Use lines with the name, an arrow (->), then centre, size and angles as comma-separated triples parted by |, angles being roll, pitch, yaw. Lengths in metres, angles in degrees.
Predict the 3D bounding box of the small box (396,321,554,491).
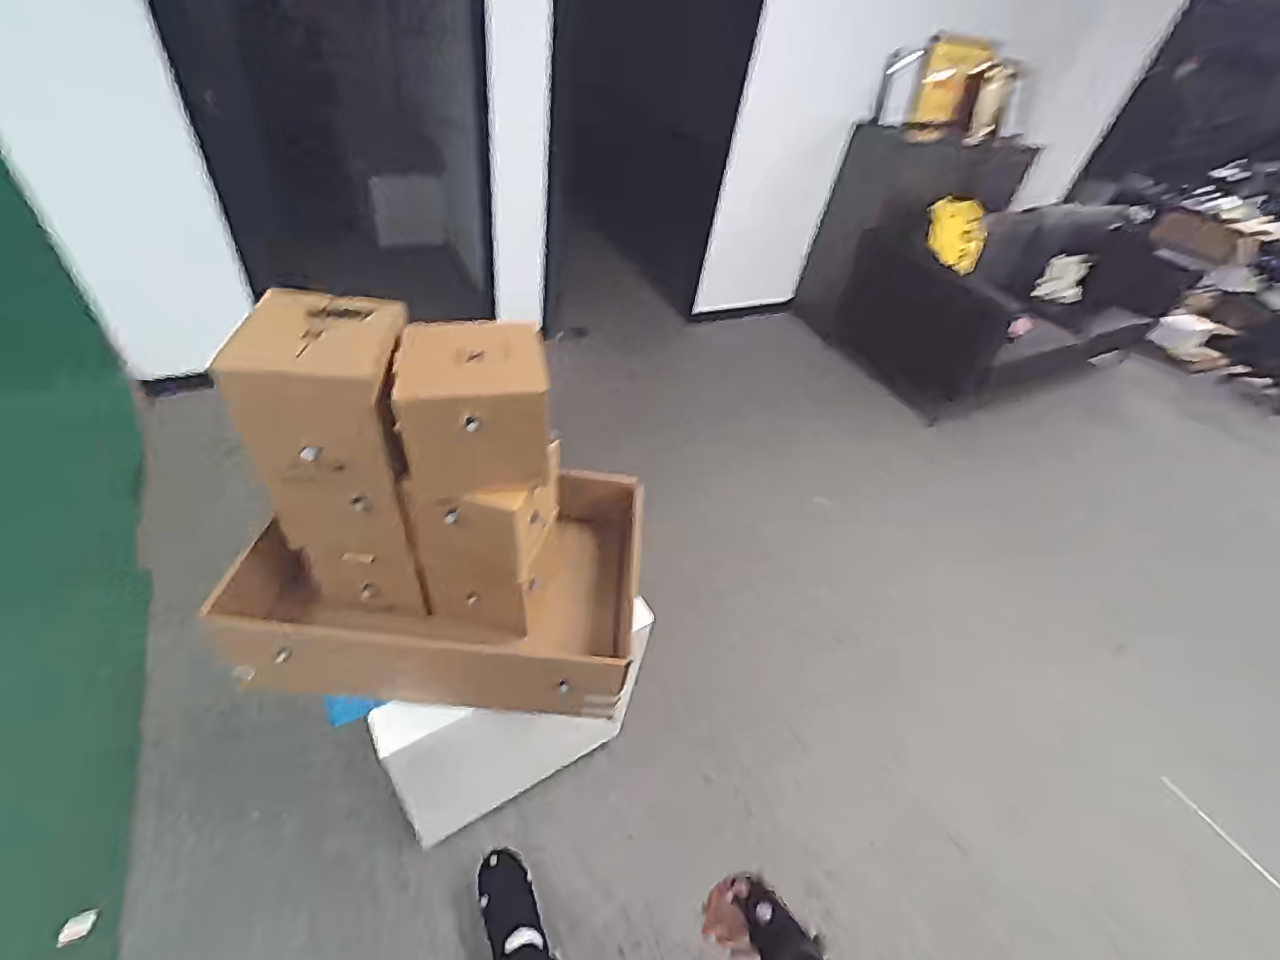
small box -> -0.212, -0.099, 0.732 | 0.179, 0.176, 0.168 | -5, 45, -12
